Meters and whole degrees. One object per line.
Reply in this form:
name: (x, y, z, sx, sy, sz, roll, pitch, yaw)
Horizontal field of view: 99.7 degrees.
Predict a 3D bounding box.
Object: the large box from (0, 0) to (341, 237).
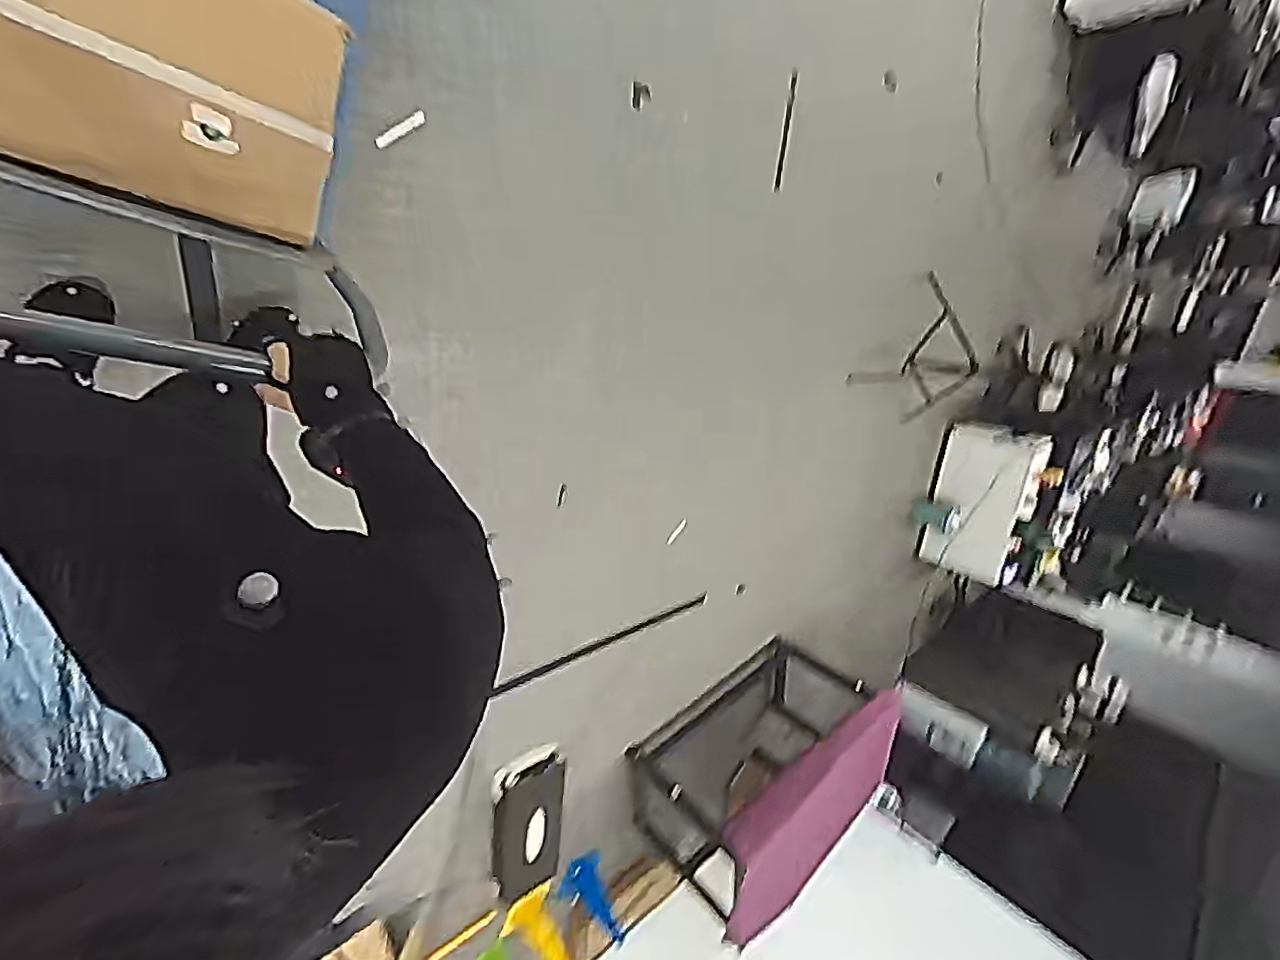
large box: (-0.707, -0.591, 0.767, 0.408, 0.320, 0.320, 4, 116, -44)
